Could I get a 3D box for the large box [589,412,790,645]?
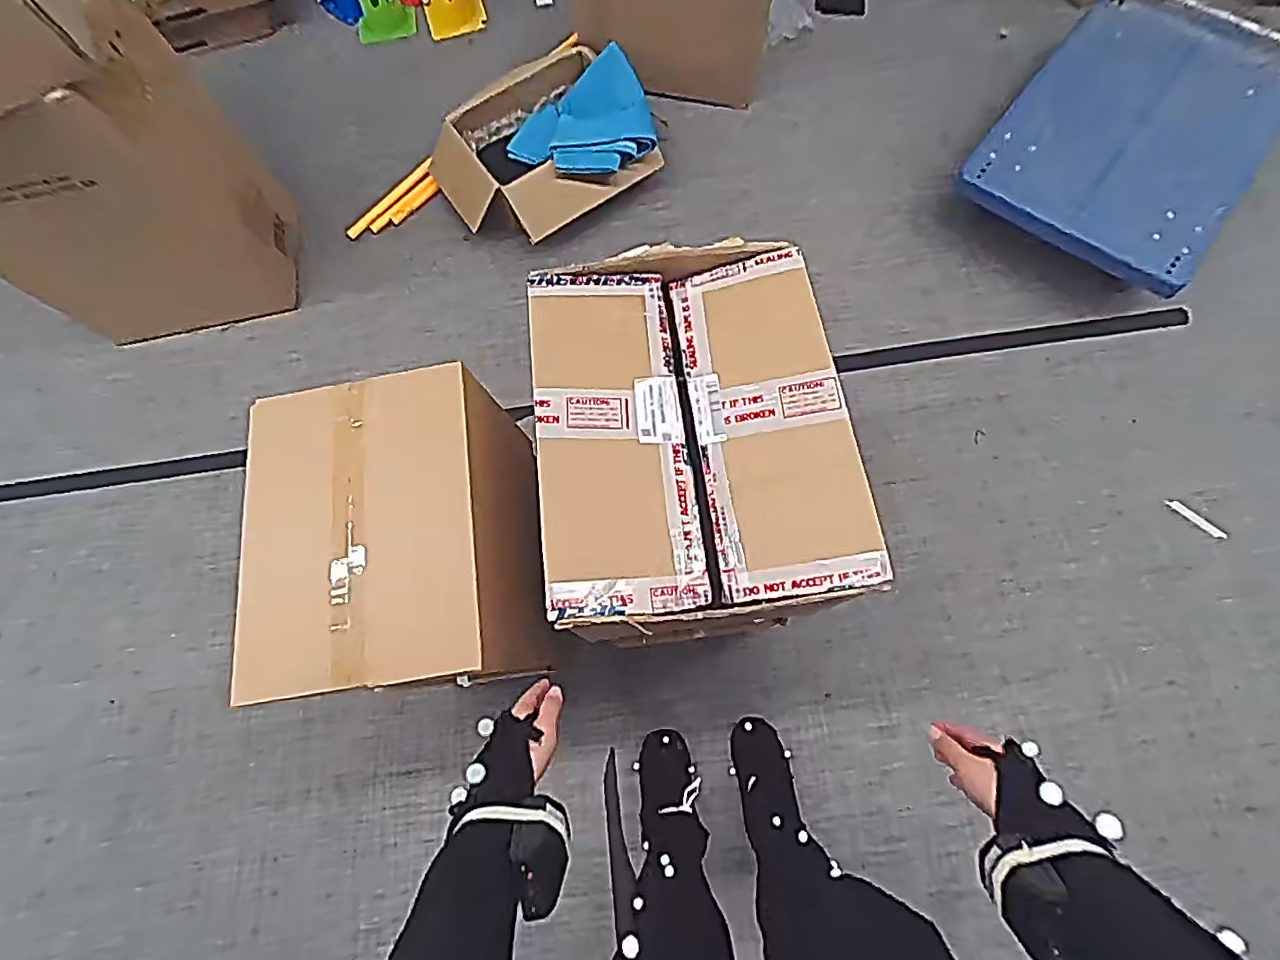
[{"bbox_3d":[0.085,0.117,1.142,0.320,0.320,0.408,-9,73,0],"label":"large box"}]
